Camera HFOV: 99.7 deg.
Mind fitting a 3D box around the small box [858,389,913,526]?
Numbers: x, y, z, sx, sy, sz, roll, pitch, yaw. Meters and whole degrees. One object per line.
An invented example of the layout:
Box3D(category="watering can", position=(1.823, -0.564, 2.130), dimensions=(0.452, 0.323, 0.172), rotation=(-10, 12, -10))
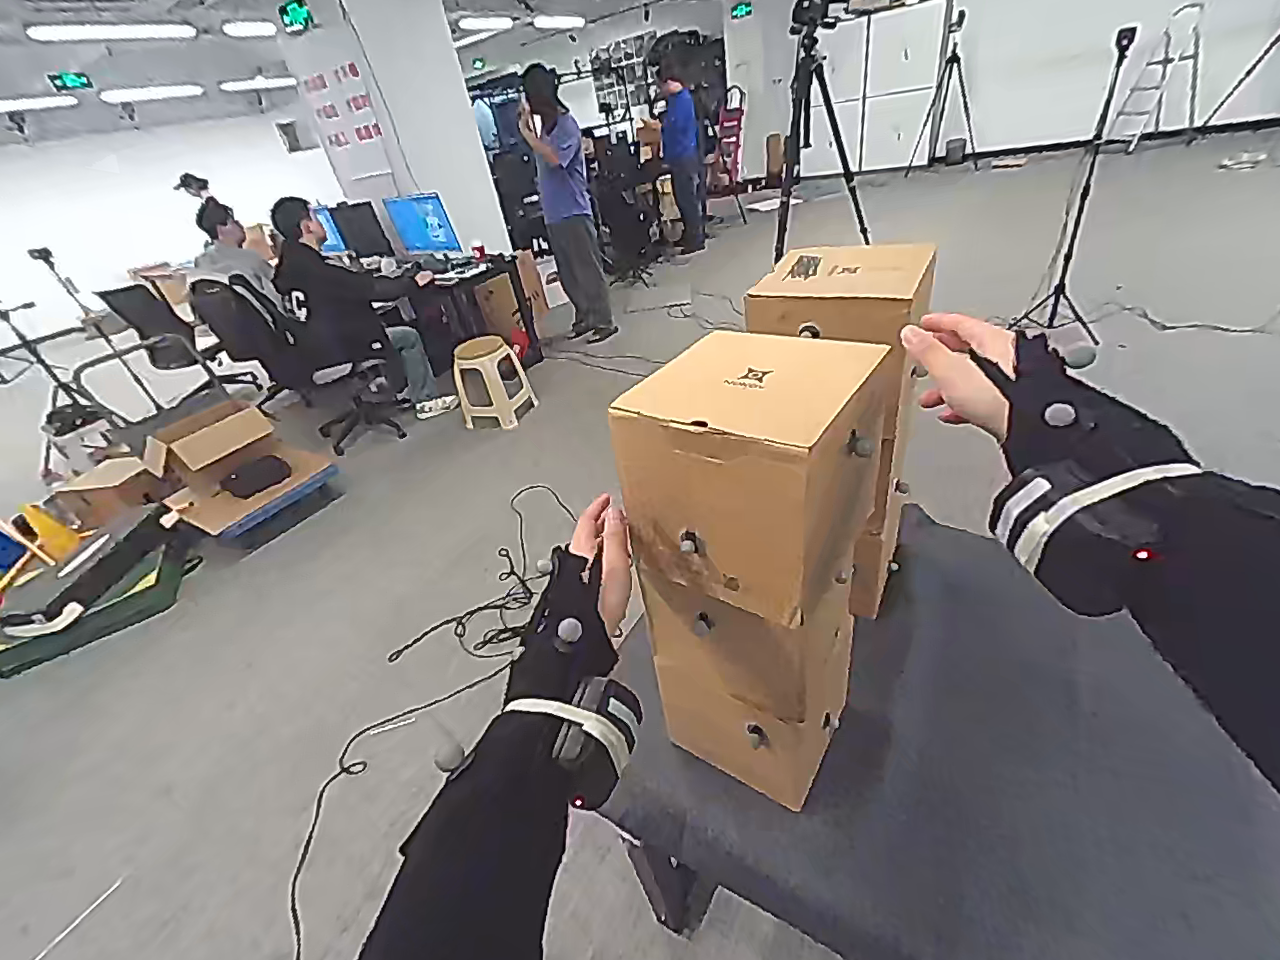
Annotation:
Box3D(category="small box", position=(0.272, -0.056, 0.763), dimensions=(0.179, 0.176, 0.168), rotation=(12, 44, 28))

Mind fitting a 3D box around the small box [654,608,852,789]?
Box3D(category="small box", position=(0.141, 0.240, 0.665), dimensions=(0.179, 0.176, 0.168), rotation=(16, 41, 33))

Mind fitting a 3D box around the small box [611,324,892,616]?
Box3D(category="small box", position=(0.099, -0.019, 0.470), dimensions=(0.168, 0.176, 0.179), rotation=(16, 42, 33))

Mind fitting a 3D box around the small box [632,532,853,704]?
Box3D(category="small box", position=(0.117, 0.104, 0.579), dimensions=(0.179, 0.176, 0.168), rotation=(12, 40, 30))

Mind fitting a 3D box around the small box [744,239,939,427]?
Box3D(category="small box", position=(0.242, -0.180, 0.658), dimensions=(0.179, 0.176, 0.168), rotation=(13, 44, 30))
